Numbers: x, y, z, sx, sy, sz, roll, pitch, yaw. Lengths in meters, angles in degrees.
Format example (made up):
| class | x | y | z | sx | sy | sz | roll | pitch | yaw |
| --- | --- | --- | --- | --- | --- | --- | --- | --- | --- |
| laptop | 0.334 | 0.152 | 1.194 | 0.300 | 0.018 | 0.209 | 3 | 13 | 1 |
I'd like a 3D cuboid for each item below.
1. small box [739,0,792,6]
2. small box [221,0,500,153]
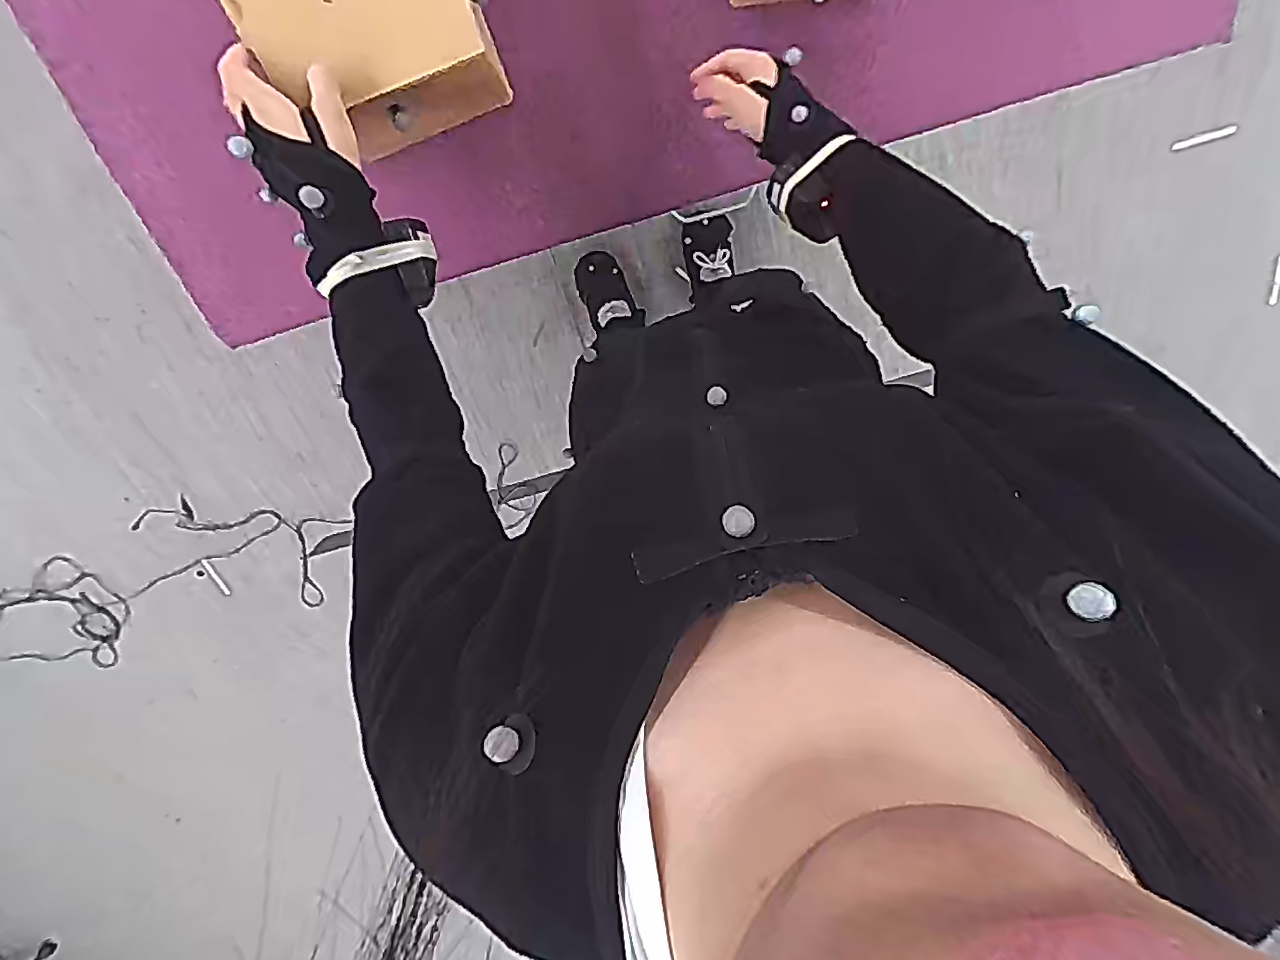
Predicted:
| class | x | y | z | sx | sy | sz | roll | pitch | yaw |
| --- | --- | --- | --- | --- | --- | --- | --- | --- | --- |
| small box | 0.165 | -0.543 | 0.450 | 0.168 | 0.176 | 0.179 | -7 | 115 | -1 |
| small box | -0.238 | -0.415 | 0.477 | 0.179 | 0.176 | 0.168 | -19 | 114 | 5 |
